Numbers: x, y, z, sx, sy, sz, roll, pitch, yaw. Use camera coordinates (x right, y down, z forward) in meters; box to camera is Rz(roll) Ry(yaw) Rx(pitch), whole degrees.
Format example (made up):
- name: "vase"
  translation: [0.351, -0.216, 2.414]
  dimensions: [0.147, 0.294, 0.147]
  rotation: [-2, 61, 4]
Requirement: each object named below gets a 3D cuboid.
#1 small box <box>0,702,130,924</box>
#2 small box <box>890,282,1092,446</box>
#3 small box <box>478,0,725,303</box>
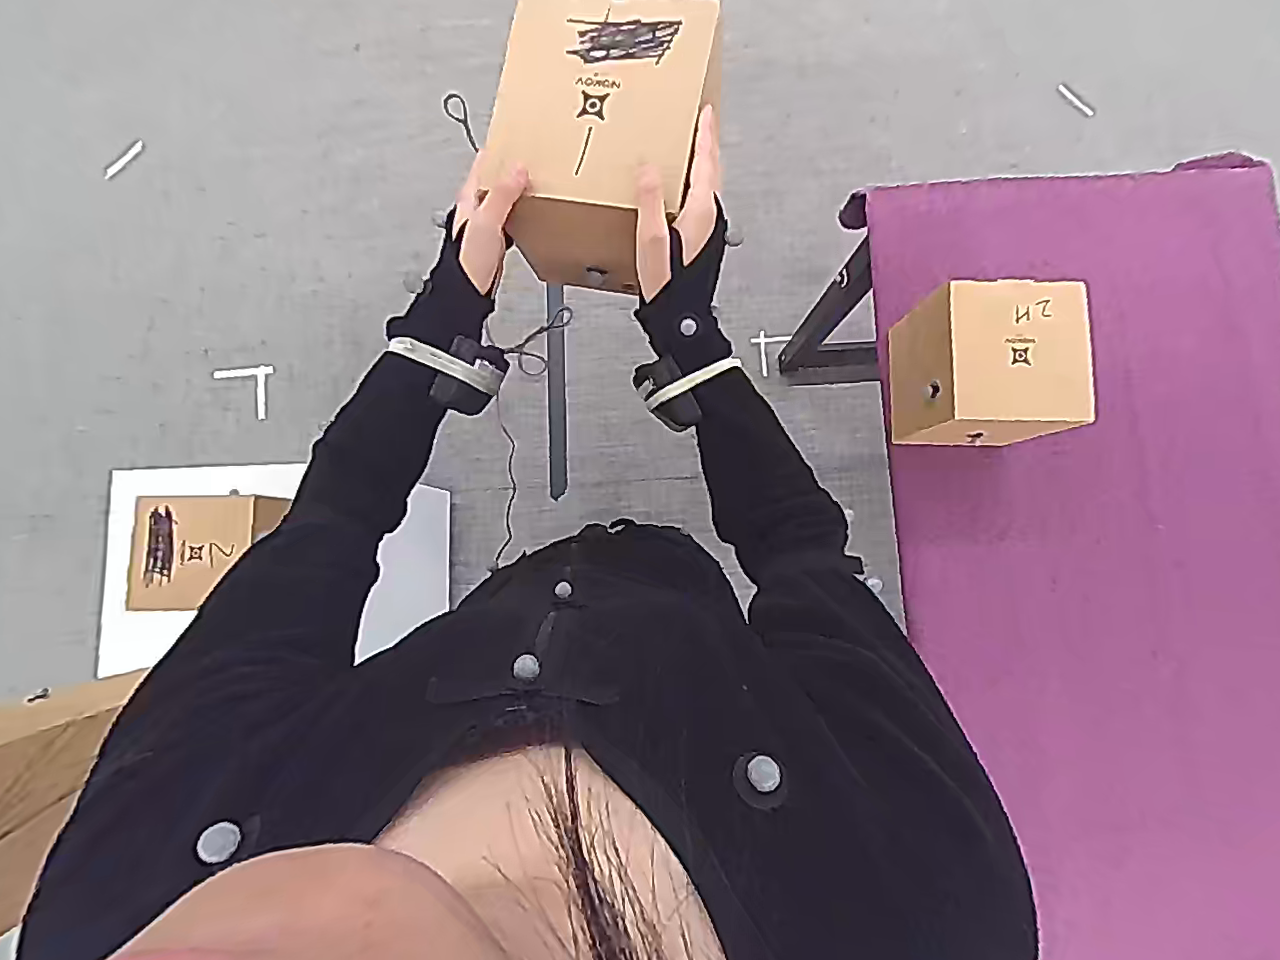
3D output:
- name: "small box"
  translation: [-0.630, 0.312, 0.489]
  dimensions: [0.179, 0.176, 0.168]
  rotation: [-3, 84, 0]
- name: "small box"
  translation: [0.453, -0.143, 0.723]
  dimensions: [0.168, 0.176, 0.179]
  rotation: [1, 83, 0]
- name: "small box"
  translation: [-0.023, -0.289, 0.497]
  dimensions: [0.168, 0.176, 0.179]
  rotation: [11, 87, 8]
